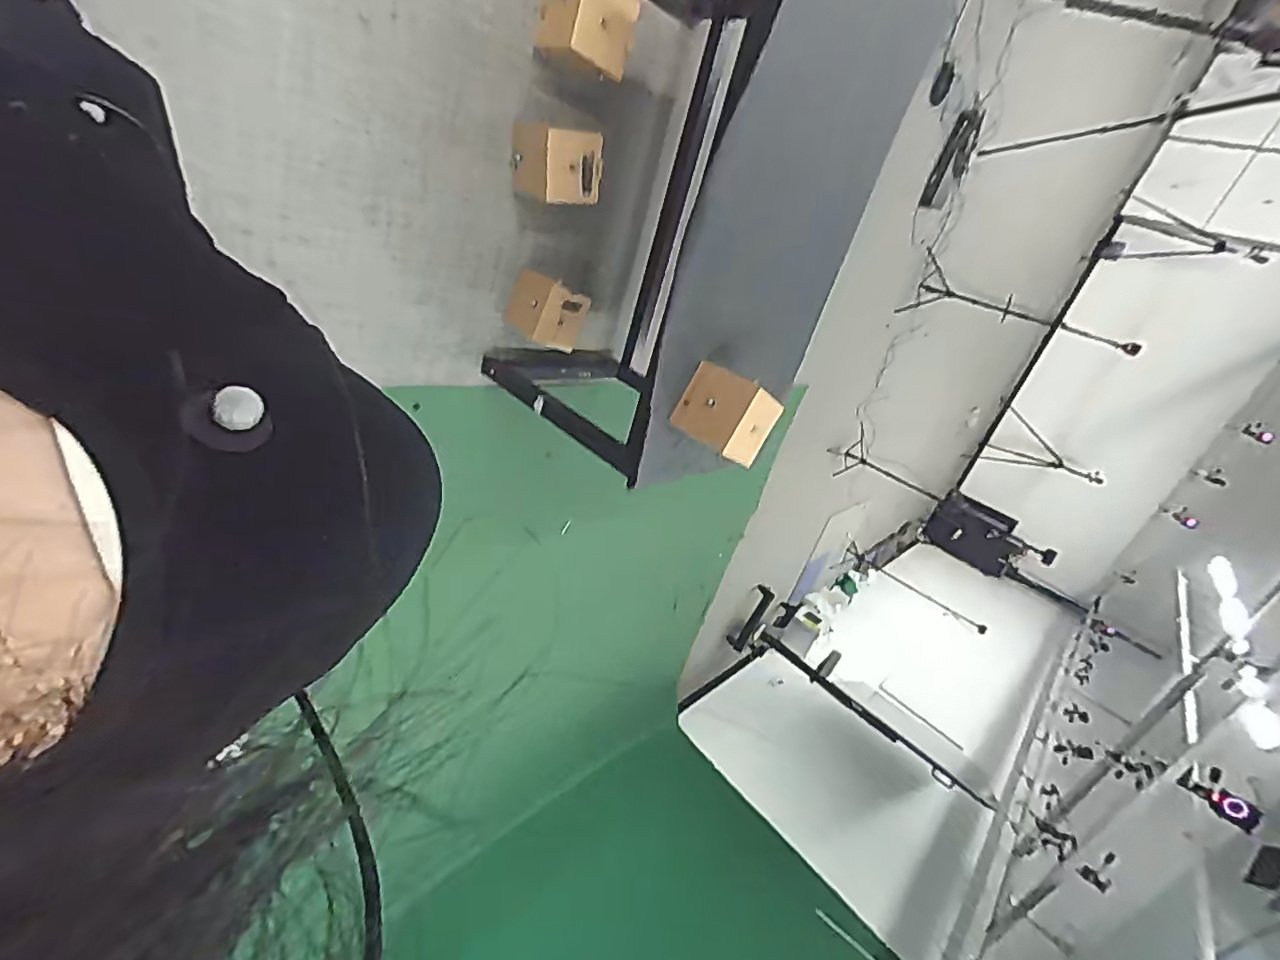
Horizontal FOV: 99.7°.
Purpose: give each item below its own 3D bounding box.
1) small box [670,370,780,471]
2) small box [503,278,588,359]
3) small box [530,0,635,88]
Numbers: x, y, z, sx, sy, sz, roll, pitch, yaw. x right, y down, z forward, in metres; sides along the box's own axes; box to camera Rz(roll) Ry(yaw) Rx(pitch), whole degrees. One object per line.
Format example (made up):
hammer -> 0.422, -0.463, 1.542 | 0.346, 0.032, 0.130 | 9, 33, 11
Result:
small box -> 0.199, -0.142, 1.284 | 0.179, 0.176, 0.168 | 17, 105, -57
small box -> -0.299, -0.504, 1.679 | 0.168, 0.176, 0.179 | 5, 116, -52
small box -> -0.148, -1.110, 1.348 | 0.179, 0.176, 0.168 | -7, 124, -48
